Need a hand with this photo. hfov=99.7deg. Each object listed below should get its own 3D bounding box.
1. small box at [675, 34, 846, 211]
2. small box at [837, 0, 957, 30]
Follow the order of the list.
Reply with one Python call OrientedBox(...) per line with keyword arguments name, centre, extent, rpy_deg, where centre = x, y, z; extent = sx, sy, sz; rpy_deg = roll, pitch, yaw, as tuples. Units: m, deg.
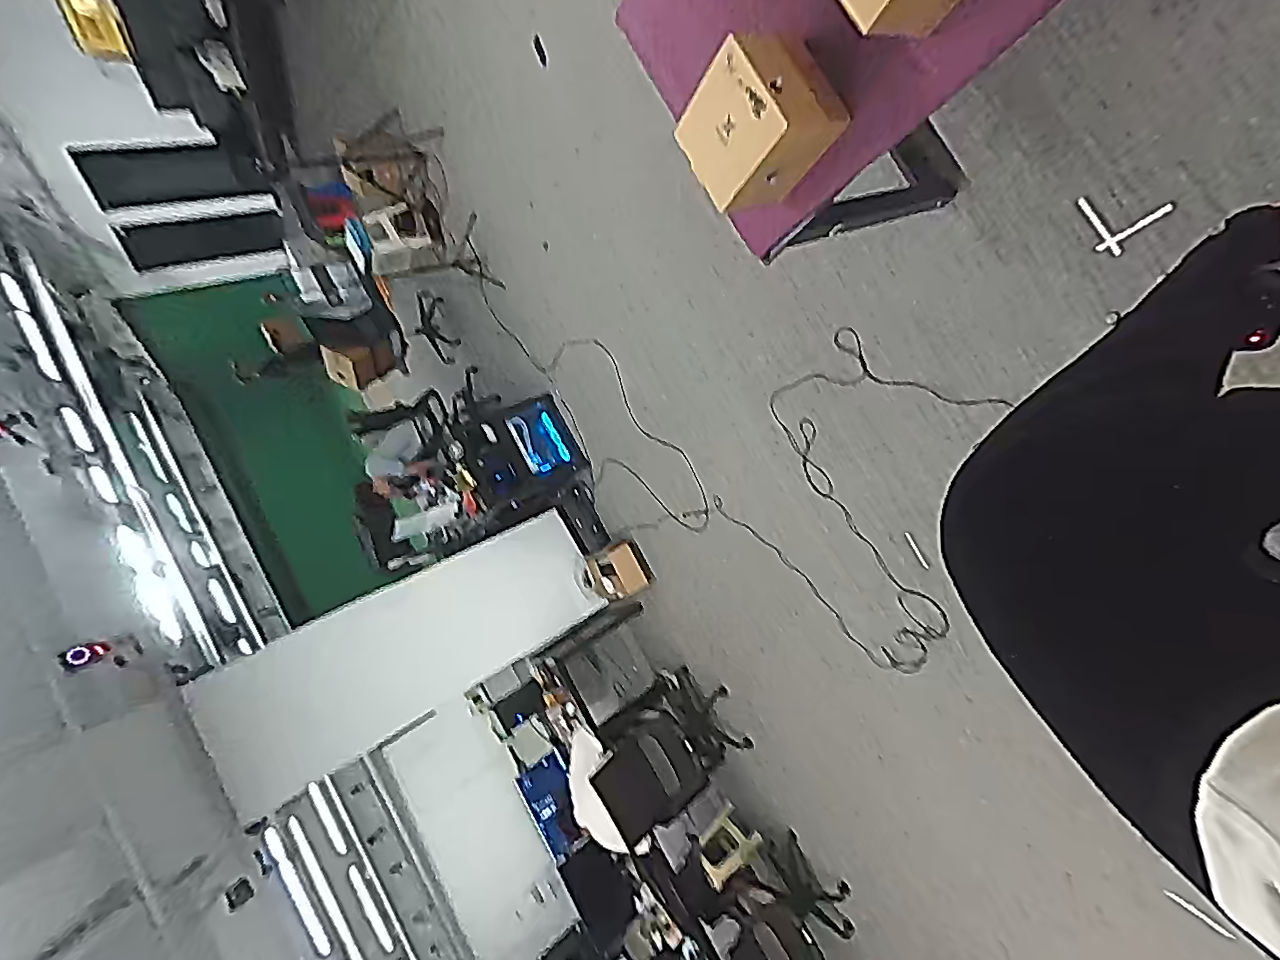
OrientedBox(name="small box", centre=(0.195, -0.580, 0.887), extent=(0.168, 0.176, 0.179), rpy_deg=(60, 149, 4))
OrientedBox(name="small box", centre=(0.320, -0.673, 0.635), extent=(0.179, 0.176, 0.168), rpy_deg=(59, 150, 4))
